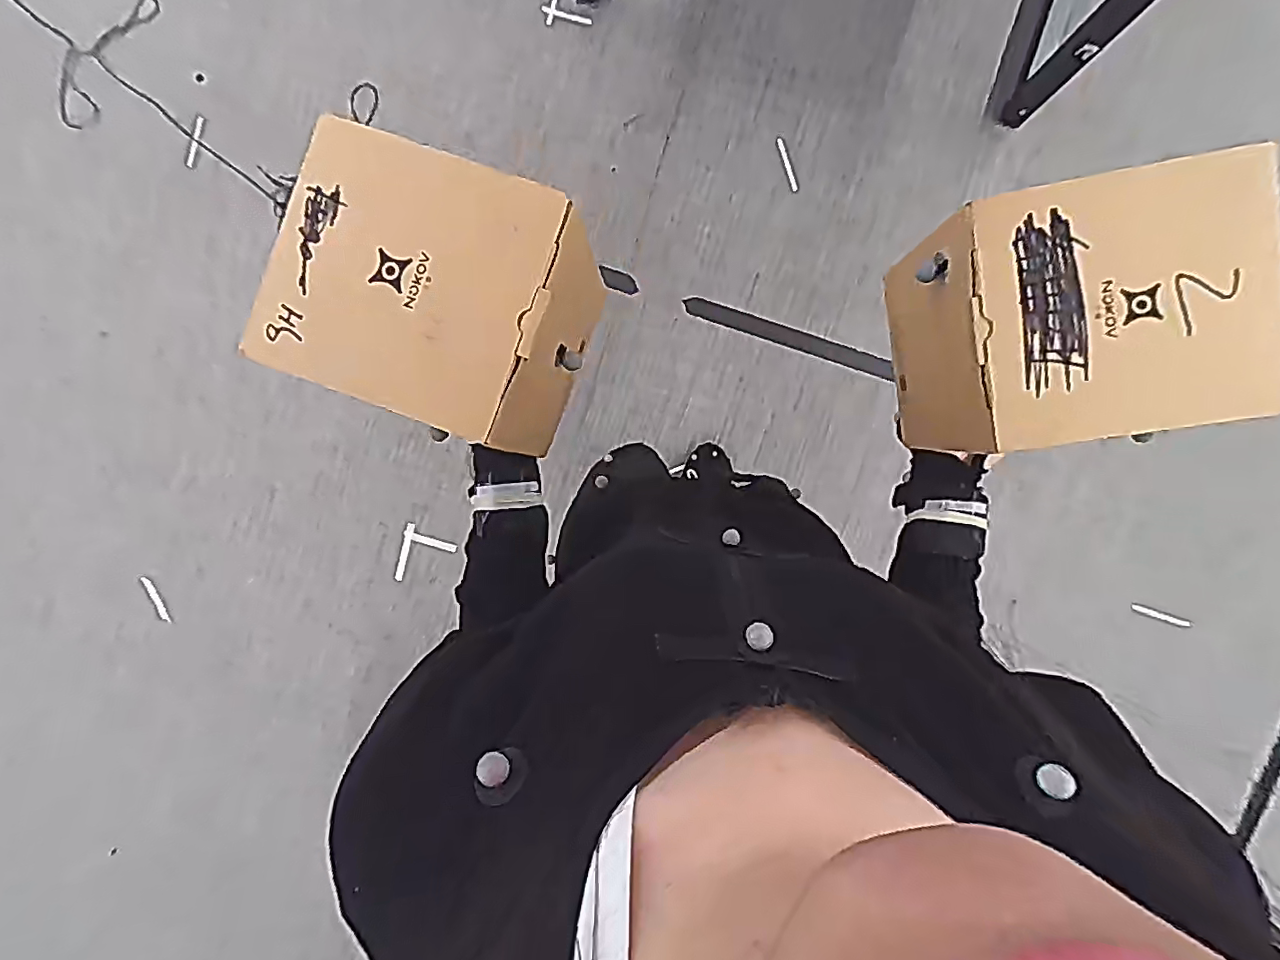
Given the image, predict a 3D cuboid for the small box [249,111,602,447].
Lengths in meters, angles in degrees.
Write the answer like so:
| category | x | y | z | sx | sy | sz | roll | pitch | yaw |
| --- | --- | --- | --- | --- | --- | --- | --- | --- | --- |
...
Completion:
| category | x | y | z | sx | sy | sz | roll | pitch | yaw |
| --- | --- | --- | --- | --- | --- | --- | --- | --- | --- |
| small box | -0.139 | -0.129 | 0.420 | 0.179 | 0.176 | 0.168 | 20 | 91 | 2 |
